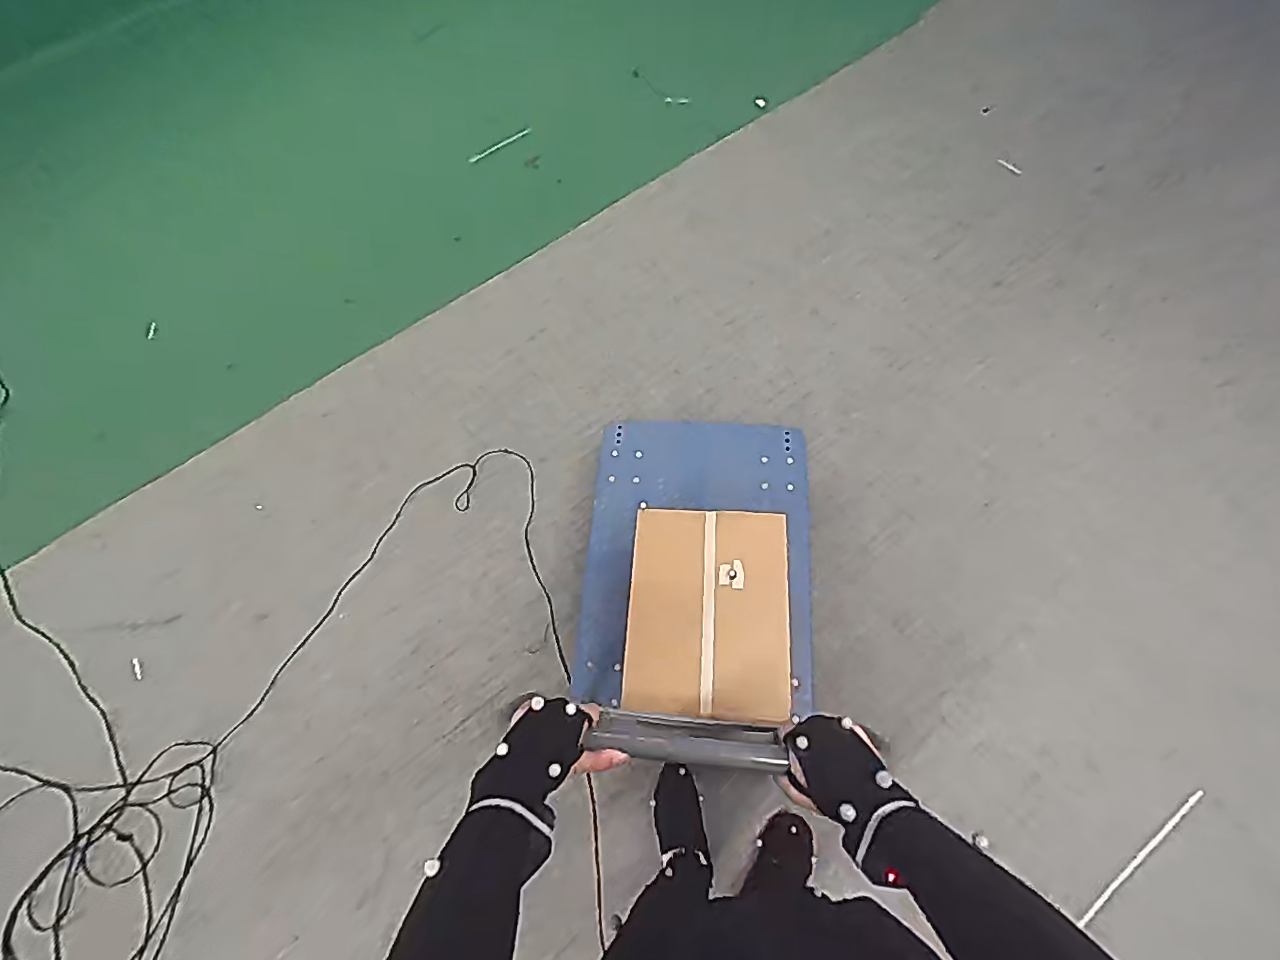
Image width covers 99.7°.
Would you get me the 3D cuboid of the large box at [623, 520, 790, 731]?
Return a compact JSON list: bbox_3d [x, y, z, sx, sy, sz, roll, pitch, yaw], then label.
[{"bbox_3d":[0.149,0.334,1.213,0.320,0.320,0.408,2,65,7],"label":"large box"}]
